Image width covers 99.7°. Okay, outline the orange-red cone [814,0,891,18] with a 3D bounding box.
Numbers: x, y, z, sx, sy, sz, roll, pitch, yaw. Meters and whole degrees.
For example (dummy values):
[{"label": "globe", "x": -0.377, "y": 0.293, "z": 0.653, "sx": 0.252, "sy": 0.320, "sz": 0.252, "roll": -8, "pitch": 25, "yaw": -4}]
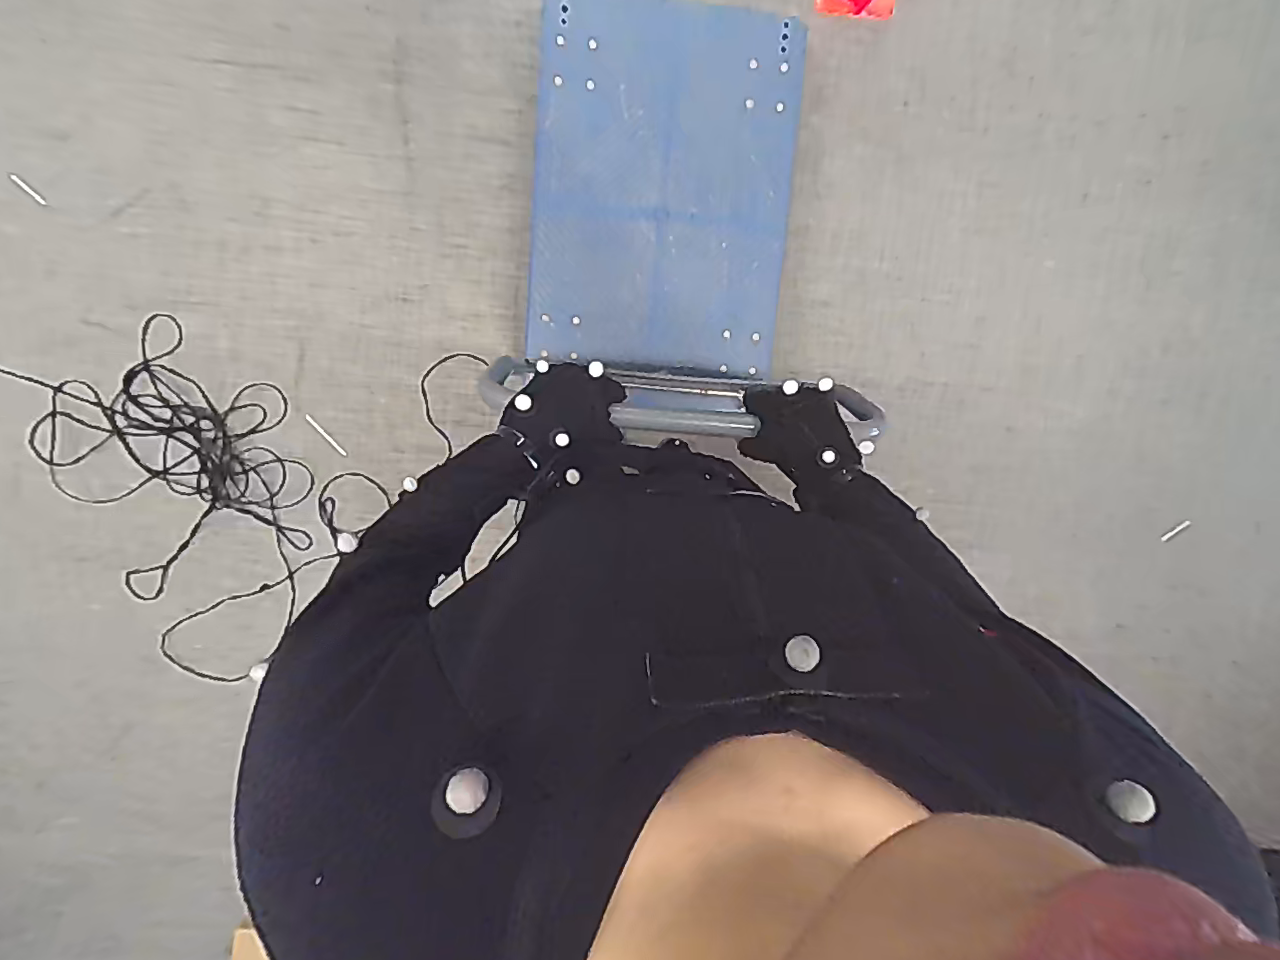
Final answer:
[{"label": "orange-red cone", "x": 0.539, "y": -1.238, "z": 1.169, "sx": 0.199, "sy": 0.360, "sz": 0.198, "roll": 4, "pitch": 97, "yaw": -2}]
